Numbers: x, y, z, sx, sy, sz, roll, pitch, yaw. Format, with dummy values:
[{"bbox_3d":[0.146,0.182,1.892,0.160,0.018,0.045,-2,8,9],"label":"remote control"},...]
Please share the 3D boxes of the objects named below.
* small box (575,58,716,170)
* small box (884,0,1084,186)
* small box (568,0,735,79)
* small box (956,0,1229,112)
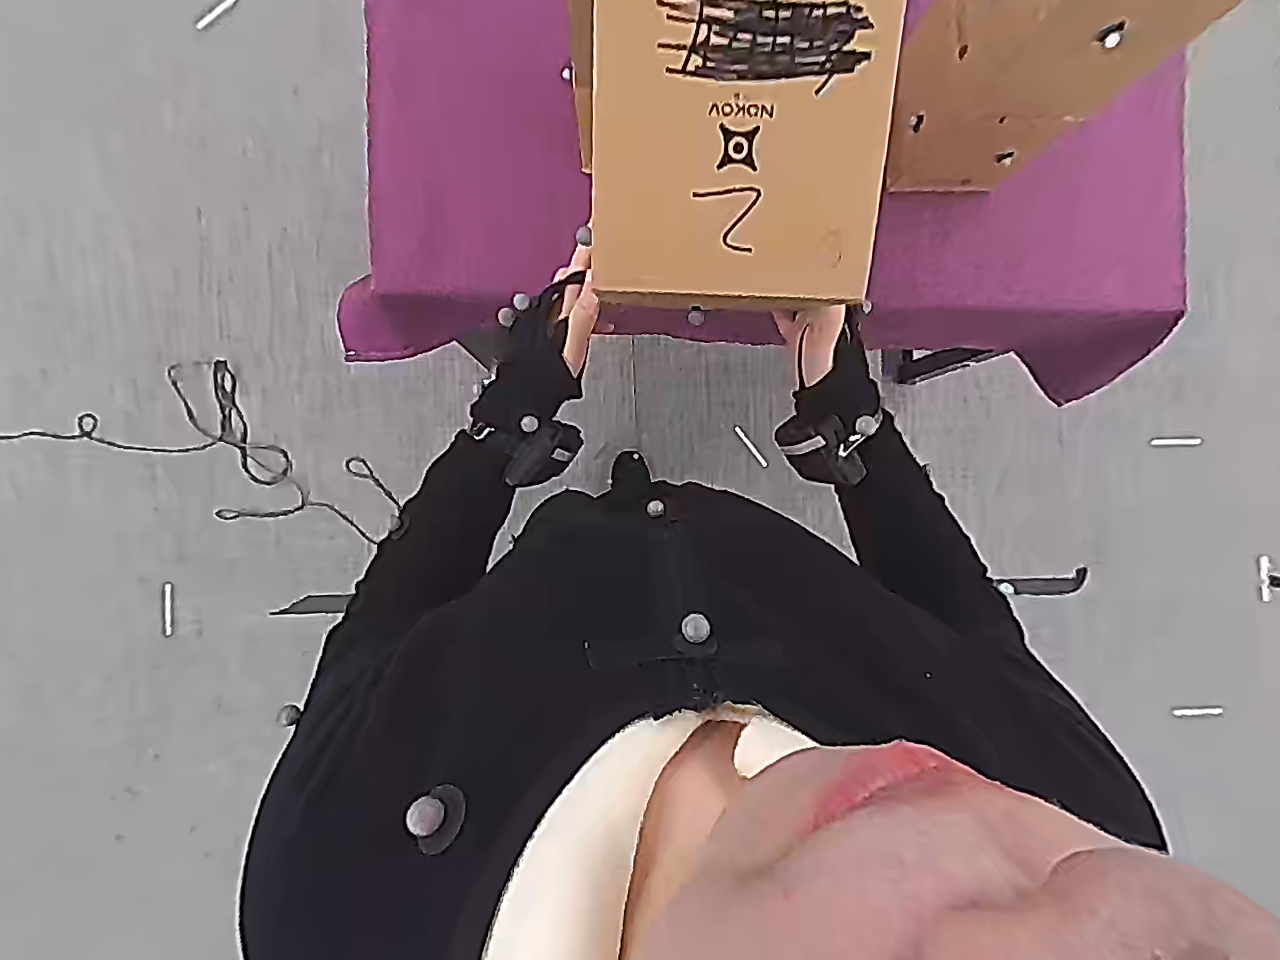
[{"bbox_3d":[-0.001,-0.538,0.700,0.168,0.176,0.179,-2,91,-4],"label":"small box"},{"bbox_3d":[0.448,-0.521,0.725,0.168,0.176,0.179,-1,90,-4],"label":"small box"},{"bbox_3d":[0.008,-0.538,0.536,0.168,0.176,0.179,-3,90,-4],"label":"small box"},{"bbox_3d":[0.457,-0.518,0.562,0.179,0.176,0.168,-2,91,-4],"label":"small box"}]
